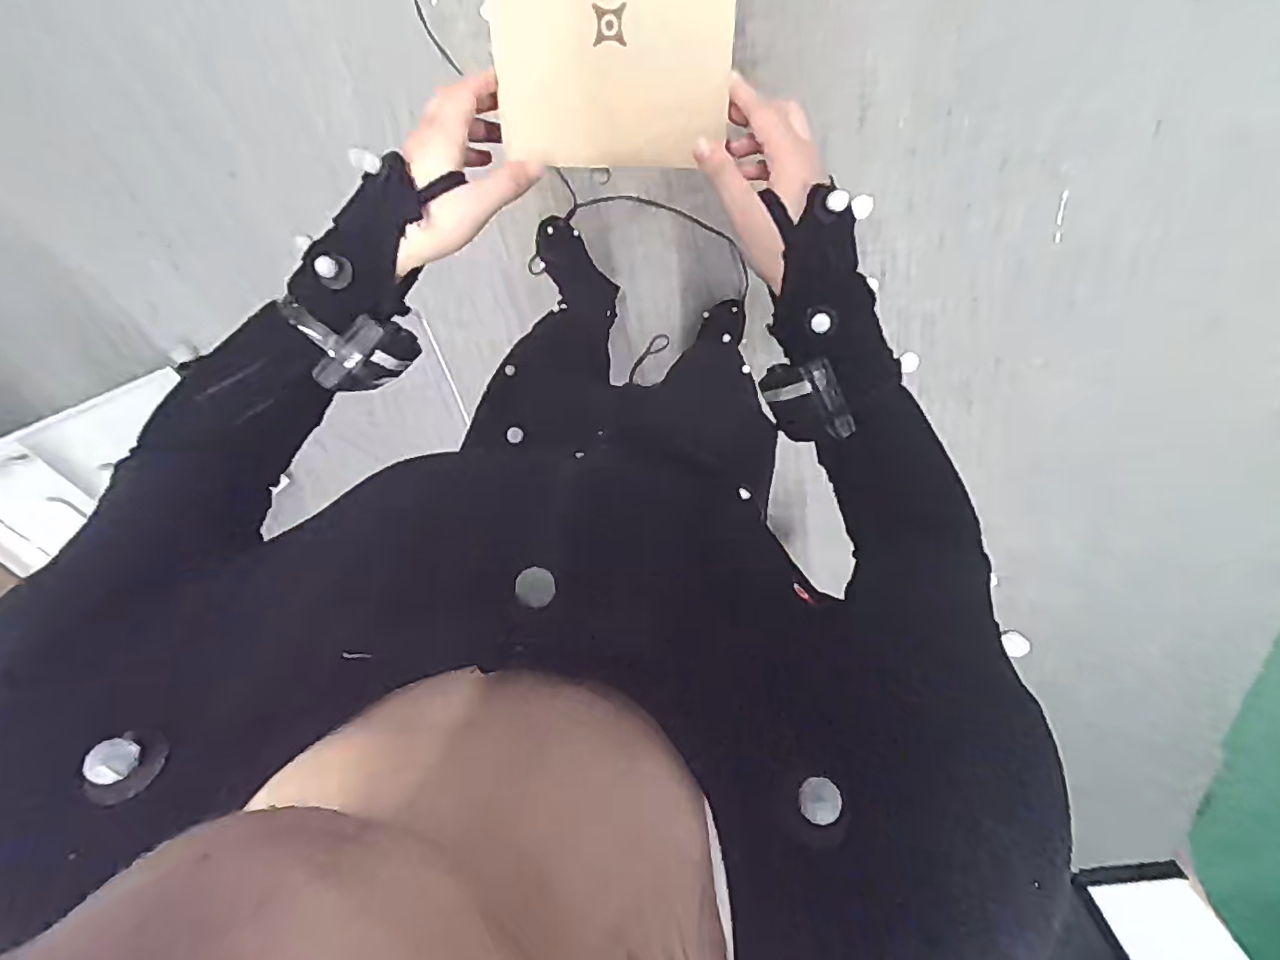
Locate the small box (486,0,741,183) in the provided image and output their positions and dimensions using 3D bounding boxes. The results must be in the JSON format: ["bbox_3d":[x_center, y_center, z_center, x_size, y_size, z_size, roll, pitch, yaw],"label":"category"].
[{"bbox_3d":[-0.009,-0.338,0.418,0.168,0.176,0.179,5,123,6],"label":"small box"}]
